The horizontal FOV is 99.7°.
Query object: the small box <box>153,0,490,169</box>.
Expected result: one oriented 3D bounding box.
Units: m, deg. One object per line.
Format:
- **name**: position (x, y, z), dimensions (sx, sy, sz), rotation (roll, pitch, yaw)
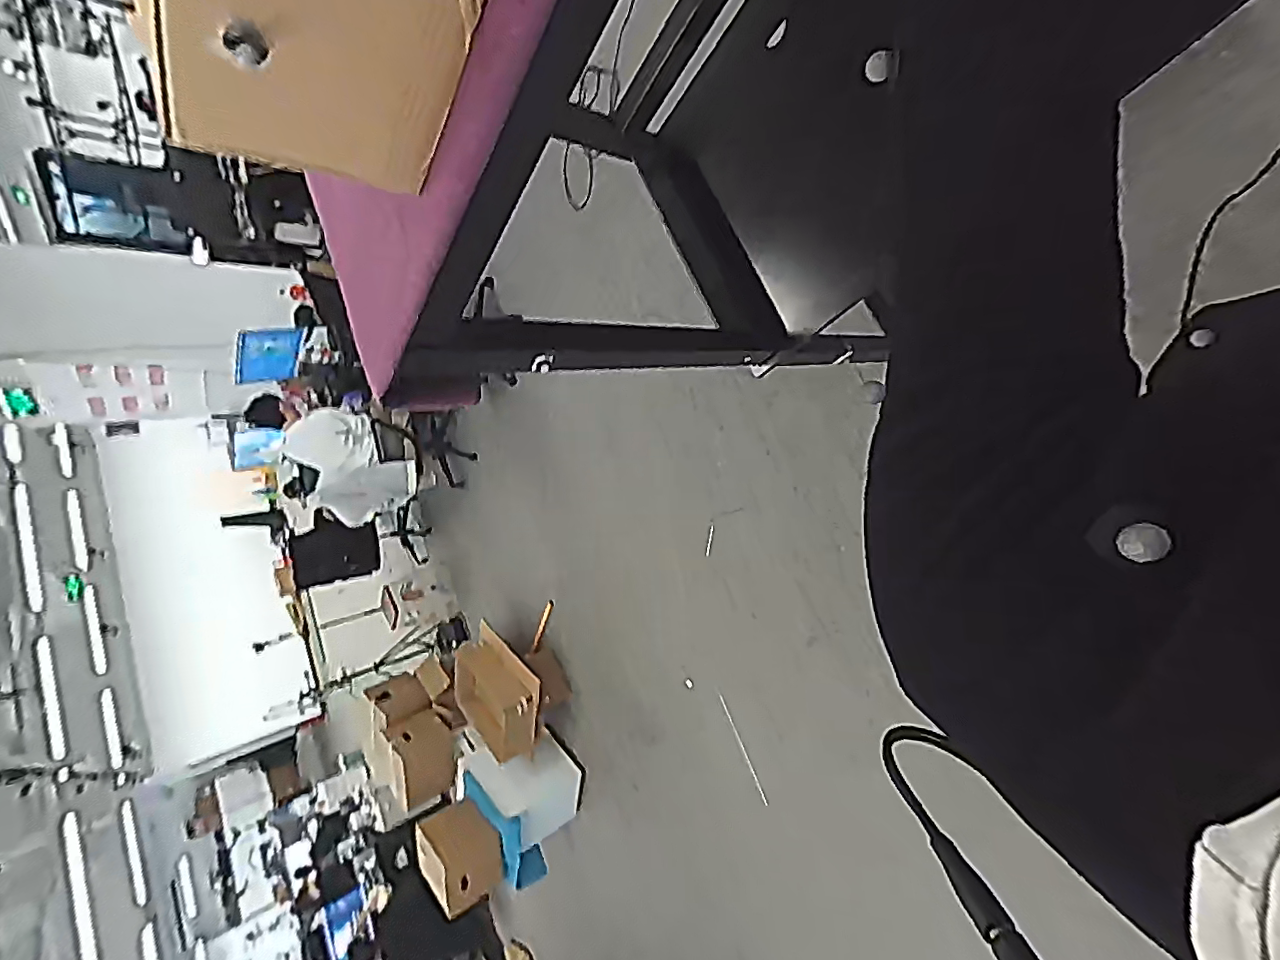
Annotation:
- **small box**: position (-0.218, -0.350, 0.361), dimensions (0.179, 0.176, 0.168), rotation (-34, 73, 46)
